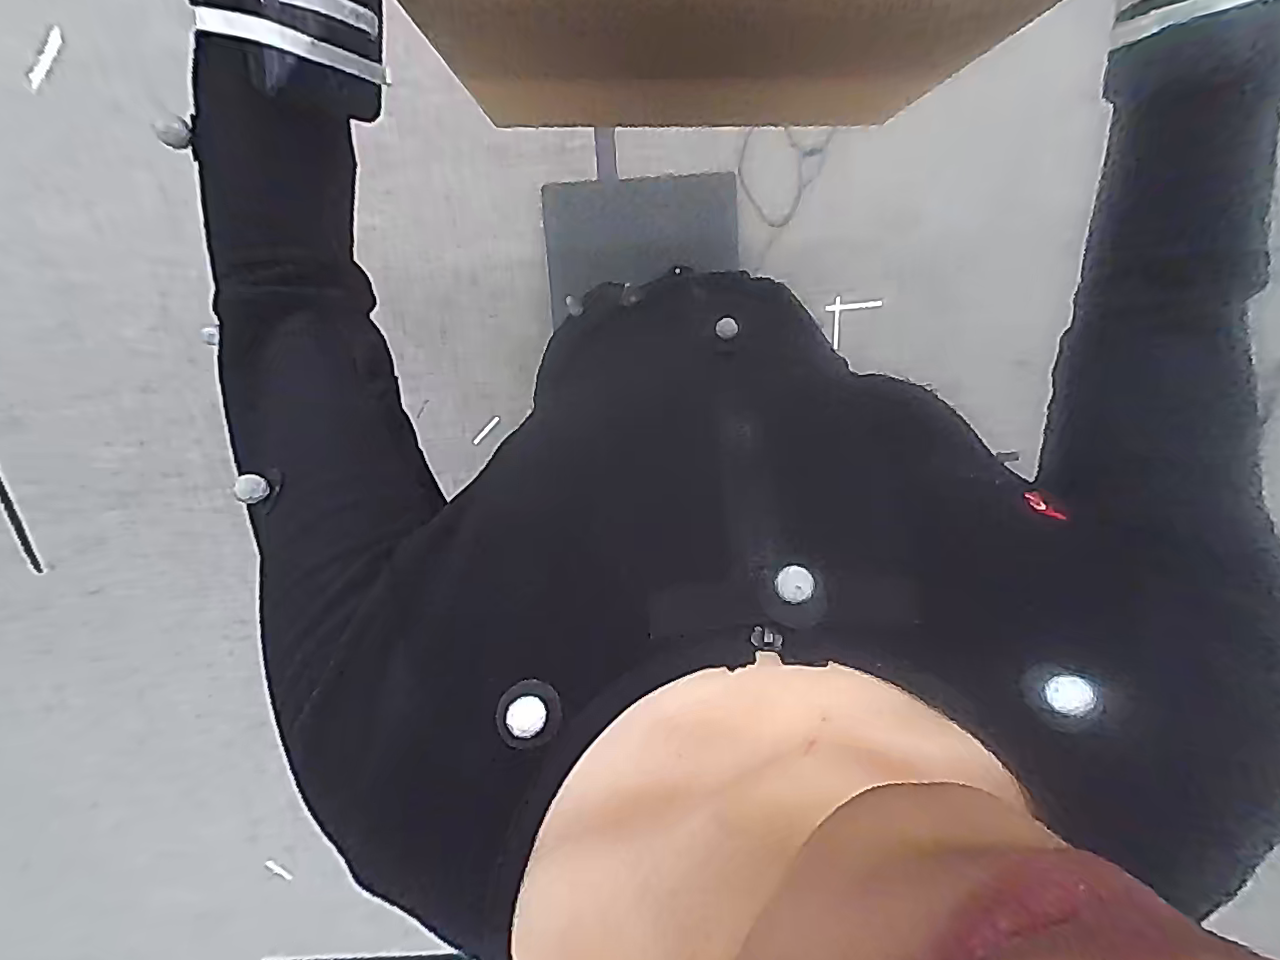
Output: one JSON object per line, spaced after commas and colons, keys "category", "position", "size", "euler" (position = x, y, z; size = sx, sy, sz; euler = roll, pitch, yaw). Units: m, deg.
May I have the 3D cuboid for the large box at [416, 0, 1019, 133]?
{"category": "large box", "position": [0.049, -0.469, 0.376], "size": [0.408, 0.320, 0.320], "euler": [-2, 108, -1]}

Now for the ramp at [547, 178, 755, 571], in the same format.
{"category": "ramp", "position": [0.036, -0.256, 1.437], "size": [0.509, 0.206, 0.991], "euler": [-5, 107, 3]}
